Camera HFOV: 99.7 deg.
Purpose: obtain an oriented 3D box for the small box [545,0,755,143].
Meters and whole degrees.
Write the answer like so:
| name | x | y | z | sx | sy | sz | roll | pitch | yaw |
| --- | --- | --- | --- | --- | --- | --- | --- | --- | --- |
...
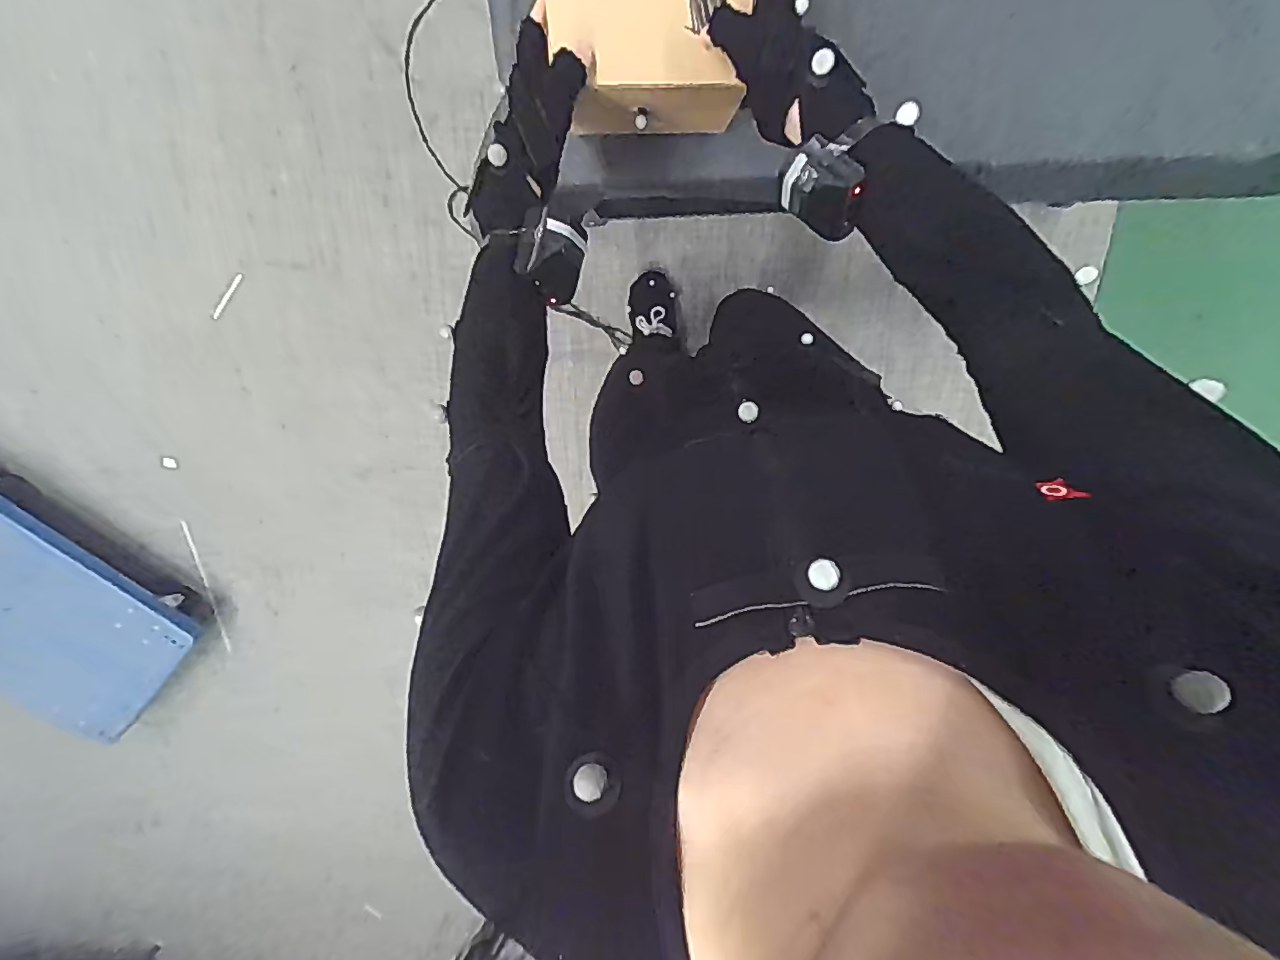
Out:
| name | x | y | z | sx | sy | sz | roll | pitch | yaw |
| --- | --- | --- | --- | --- | --- | --- | --- | --- | --- |
| small box | 0.008 | -0.437 | 0.517 | 0.179 | 0.176 | 0.168 | 0 | 110 | 1 |
